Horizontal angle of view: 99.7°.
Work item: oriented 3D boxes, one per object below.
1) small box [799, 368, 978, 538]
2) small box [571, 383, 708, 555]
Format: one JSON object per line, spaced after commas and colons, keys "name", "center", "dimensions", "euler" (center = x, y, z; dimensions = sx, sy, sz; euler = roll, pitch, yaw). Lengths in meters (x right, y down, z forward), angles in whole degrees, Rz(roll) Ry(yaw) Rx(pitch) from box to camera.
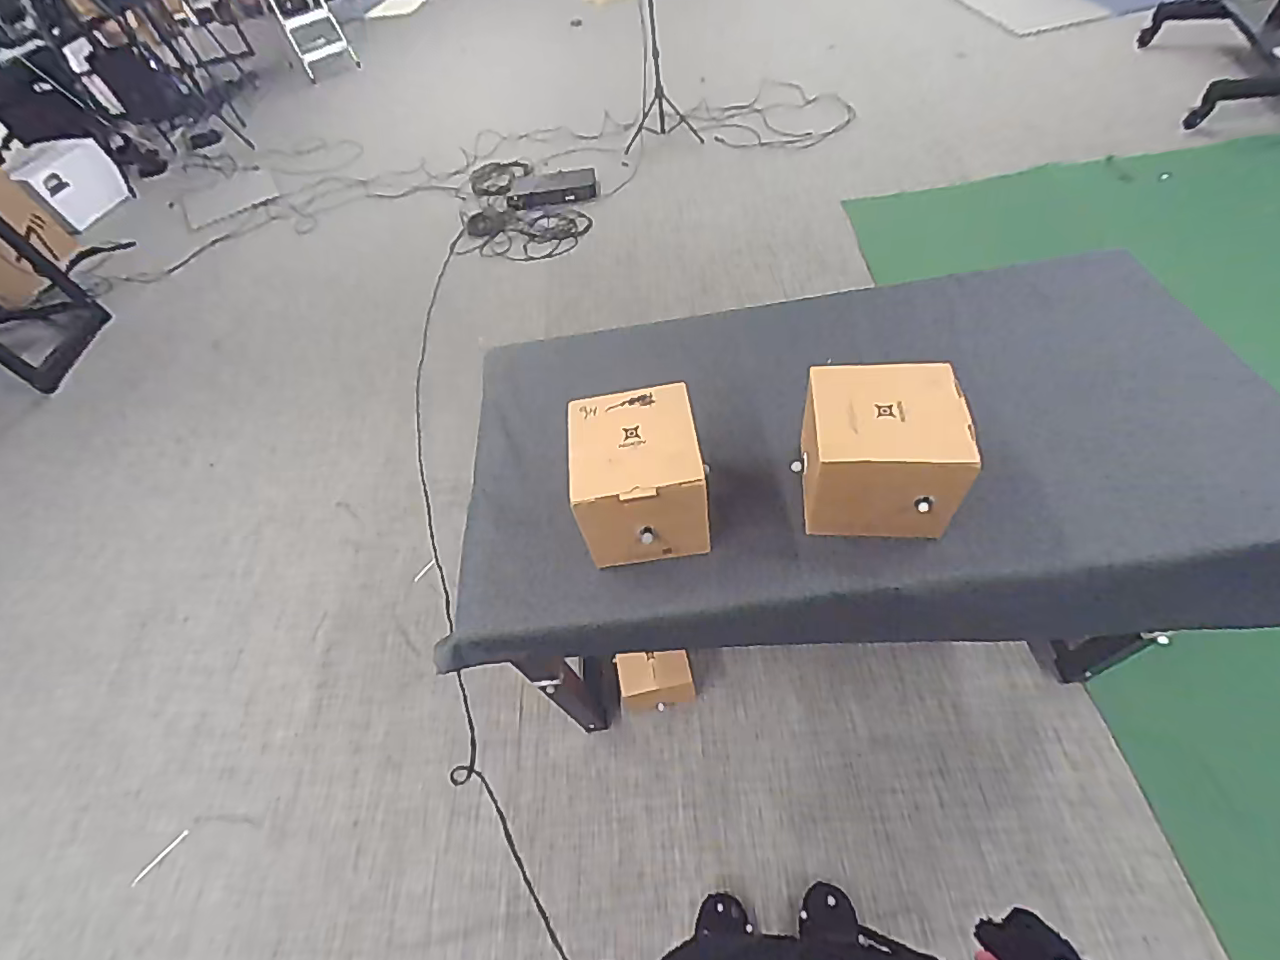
{"name": "small box", "center": [0.316, -0.032, 0.731], "dimensions": [0.179, 0.176, 0.168], "euler": [1, 54, 11]}
{"name": "small box", "center": [0.002, -0.006, 0.760], "dimensions": [0.168, 0.176, 0.179], "euler": [-8, 53, 3]}
